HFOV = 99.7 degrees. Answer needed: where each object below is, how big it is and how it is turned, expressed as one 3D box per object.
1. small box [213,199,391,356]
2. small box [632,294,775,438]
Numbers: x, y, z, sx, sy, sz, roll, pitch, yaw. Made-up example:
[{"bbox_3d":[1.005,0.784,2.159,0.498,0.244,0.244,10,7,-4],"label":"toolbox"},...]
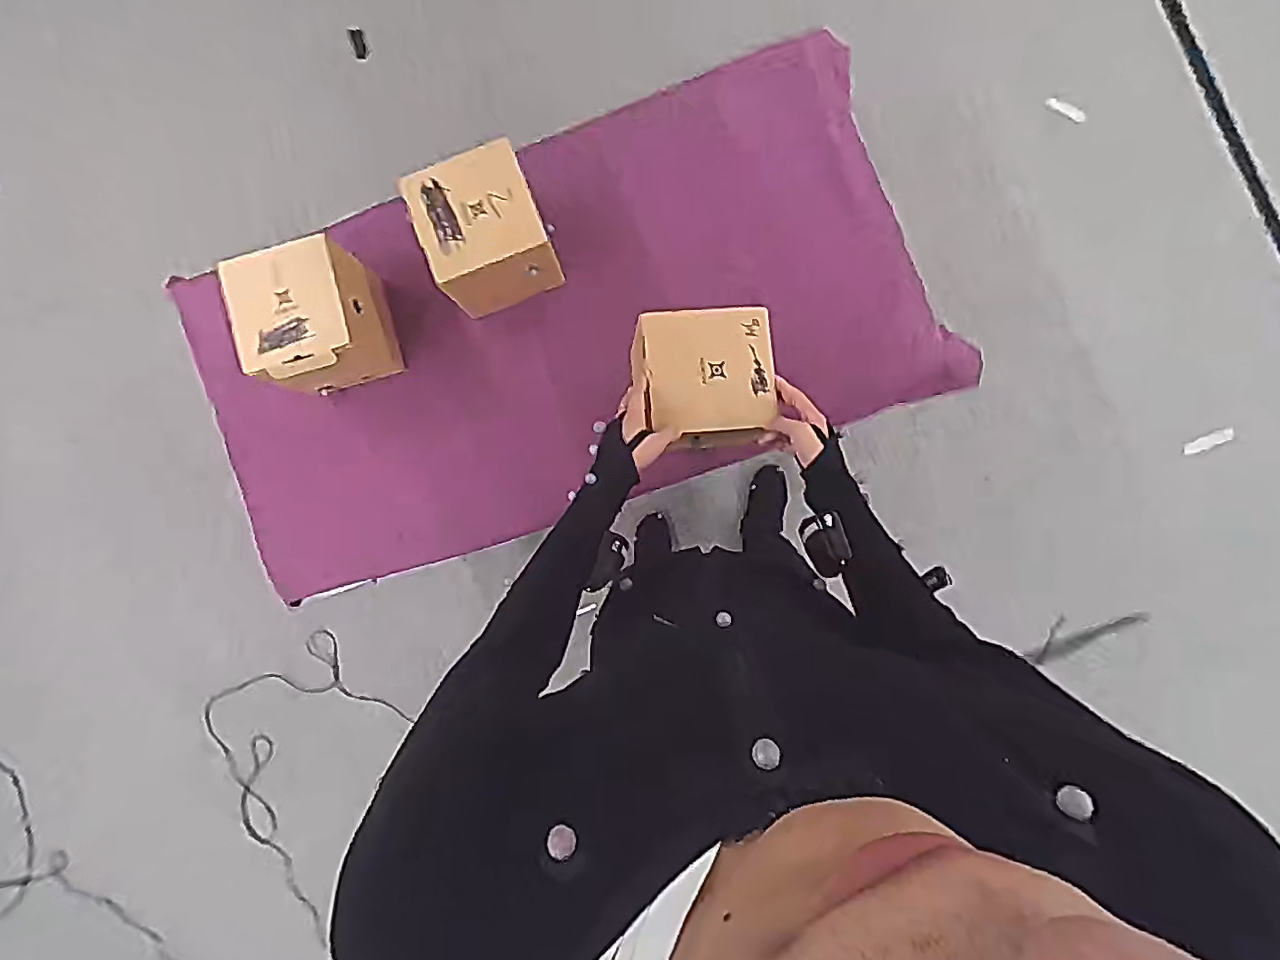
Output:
[{"bbox_3d":[-0.516,-0.303,0.851,0.168,0.176,0.179,-10,89,0],"label":"small box"},{"bbox_3d":[0.080,-0.155,0.780,0.179,0.176,0.168,-4,87,-5],"label":"small box"}]
